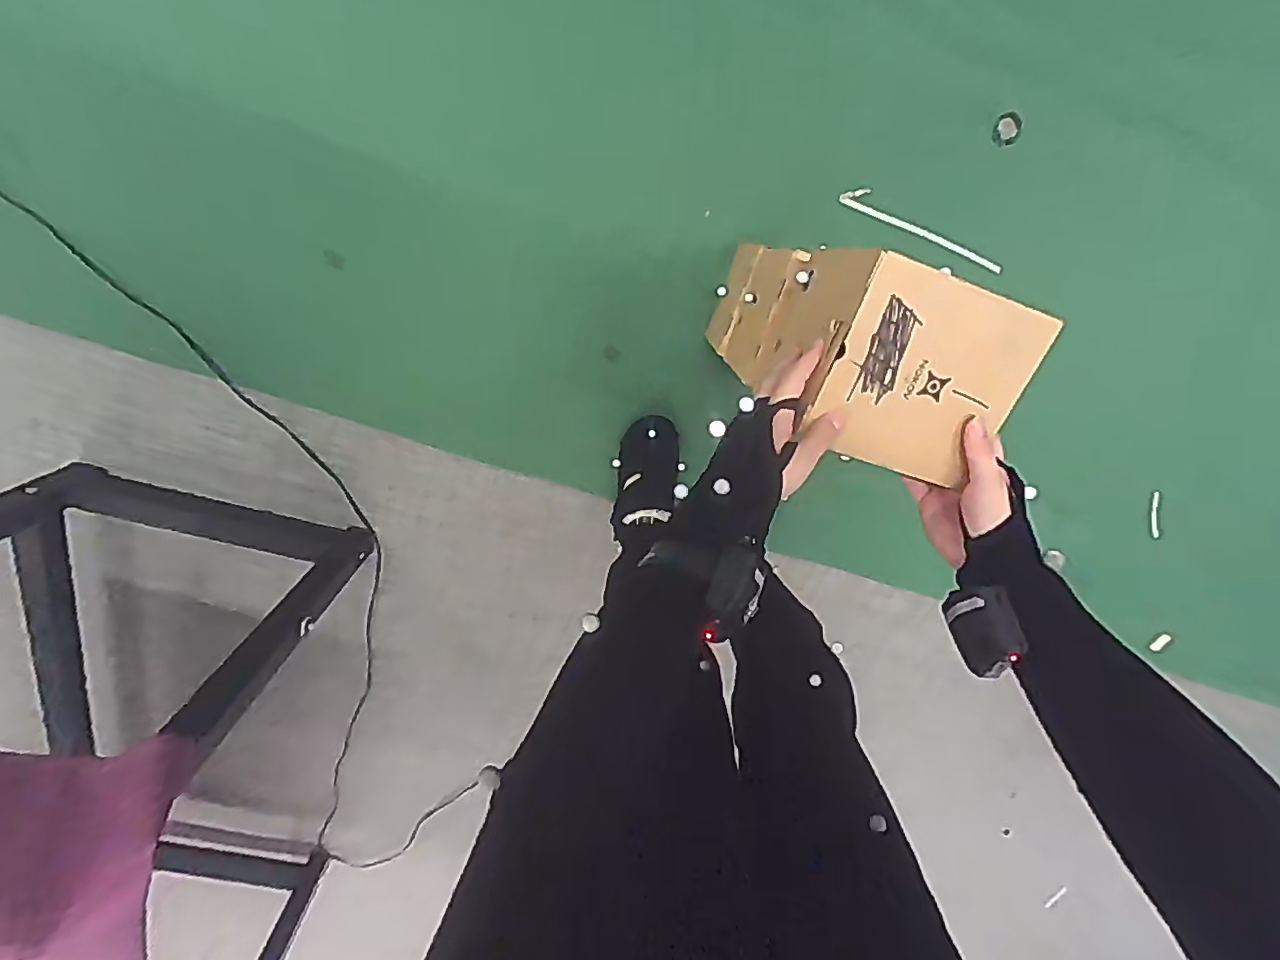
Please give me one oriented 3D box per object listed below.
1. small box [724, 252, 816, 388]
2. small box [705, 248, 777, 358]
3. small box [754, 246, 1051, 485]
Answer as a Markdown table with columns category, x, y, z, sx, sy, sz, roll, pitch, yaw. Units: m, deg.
| category | x | y | z | sx | sy | sz | roll | pitch | yaw |
| --- | --- | --- | --- | --- | --- | --- | --- | --- | --- |
| small box | 0.231 | -0.204 | 0.737 | 0.179 | 0.176 | 0.168 | 15 | 113 | -7 |
| small box | 0.222 | -0.272 | 0.885 | 0.179 | 0.176 | 0.168 | 18 | 113 | -8 |
| small box | 0.236 | -0.120 | 0.542 | 0.179 | 0.176 | 0.168 | 16 | 112 | -10 |
